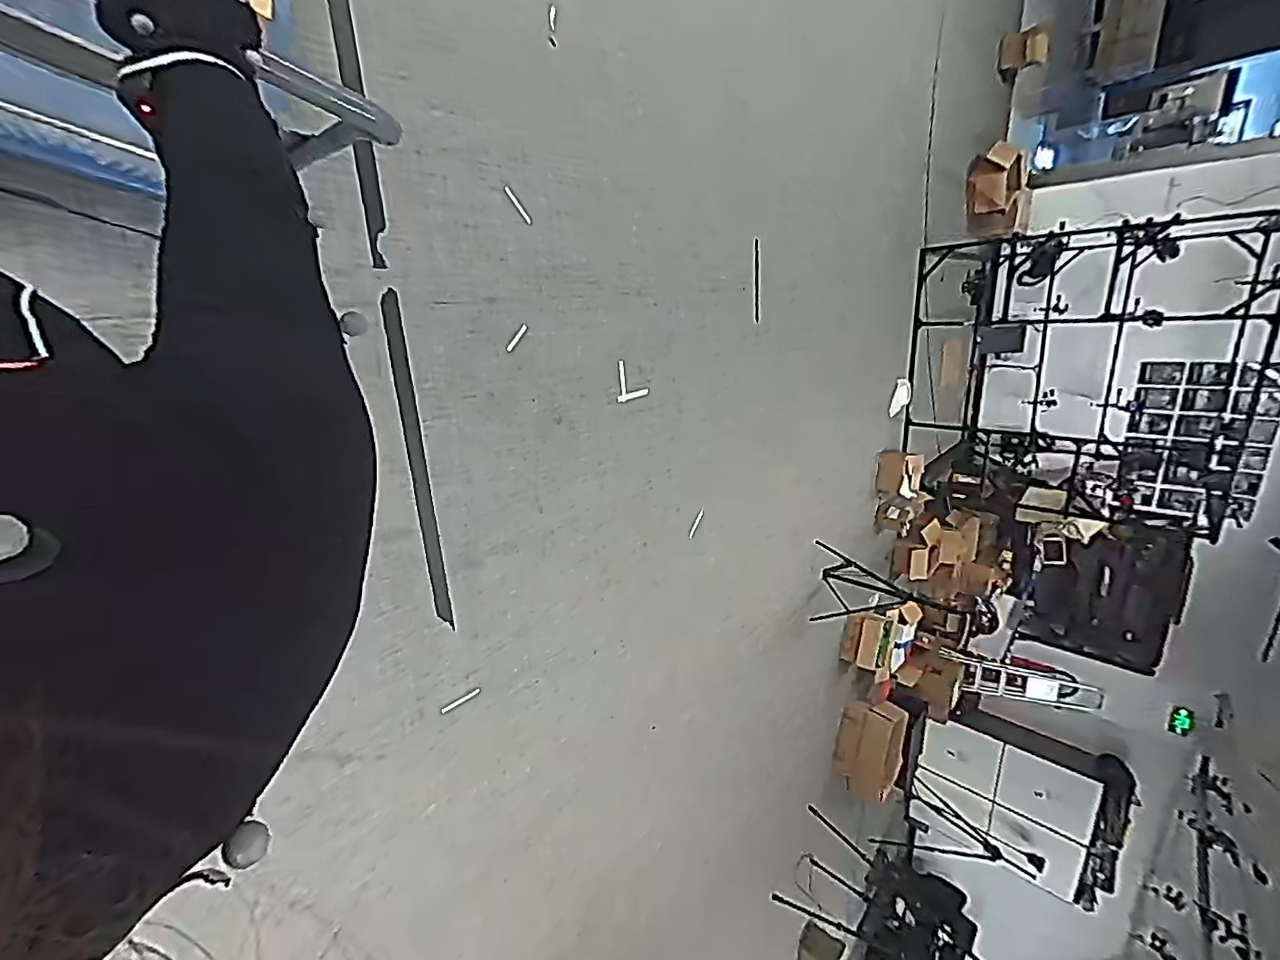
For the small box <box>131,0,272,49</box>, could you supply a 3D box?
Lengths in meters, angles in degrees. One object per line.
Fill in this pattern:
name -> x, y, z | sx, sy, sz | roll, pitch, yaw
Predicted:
small box -> -0.719, -0.850, 0.875 | 0.179, 0.176, 0.168 | -4, 102, -48
